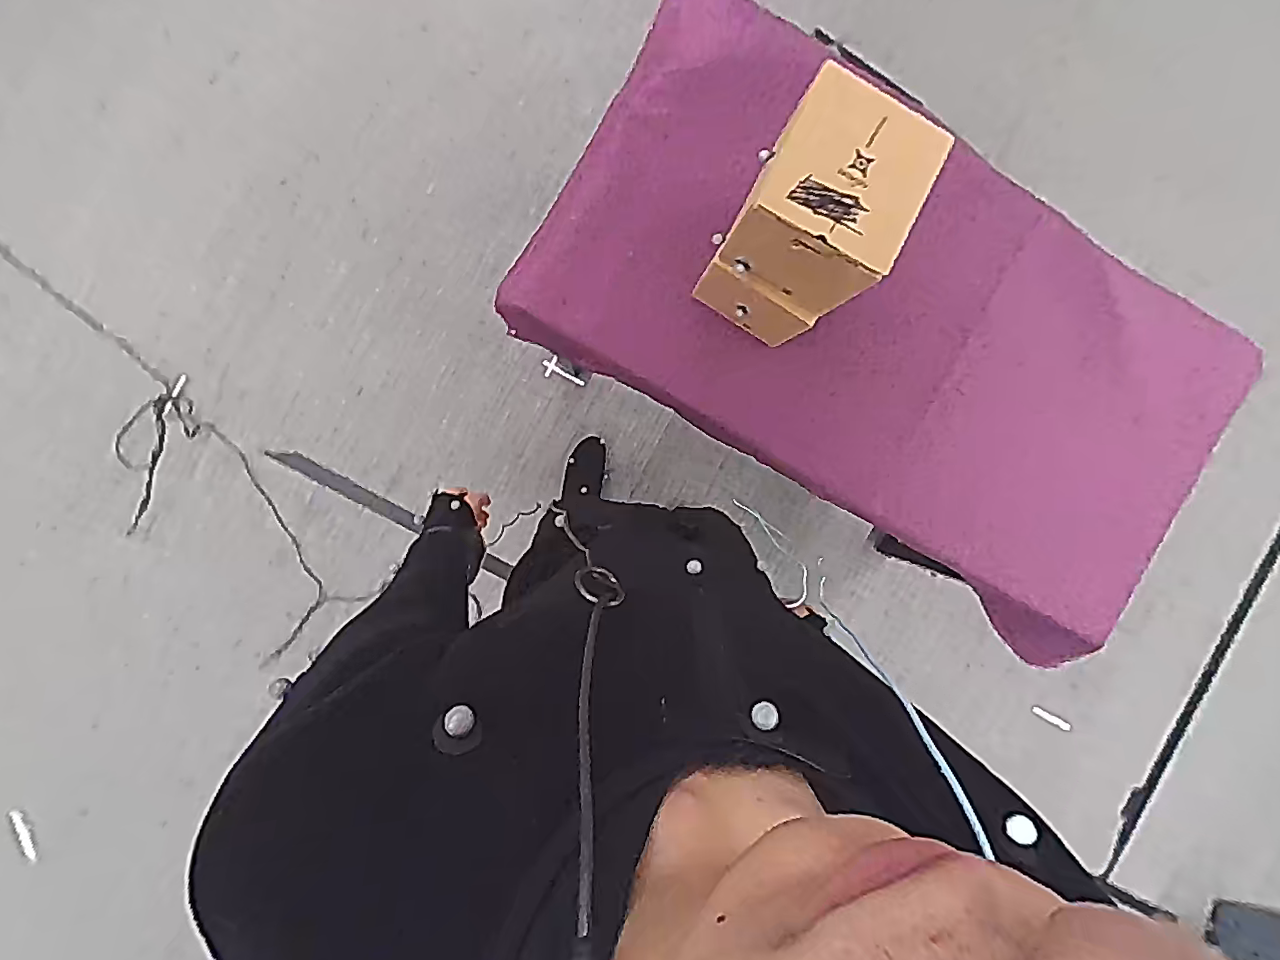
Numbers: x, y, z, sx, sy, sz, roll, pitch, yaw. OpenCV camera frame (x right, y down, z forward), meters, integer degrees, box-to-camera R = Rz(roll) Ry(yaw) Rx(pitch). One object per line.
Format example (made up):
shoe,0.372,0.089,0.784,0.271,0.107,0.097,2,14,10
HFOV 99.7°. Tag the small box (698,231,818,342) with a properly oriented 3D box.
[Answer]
small box,0.203,-0.334,0.823,0.168,0.176,0.179,32,90,-7

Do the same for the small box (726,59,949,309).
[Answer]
small box,0.220,-0.337,0.659,0.168,0.176,0.179,27,90,-7
